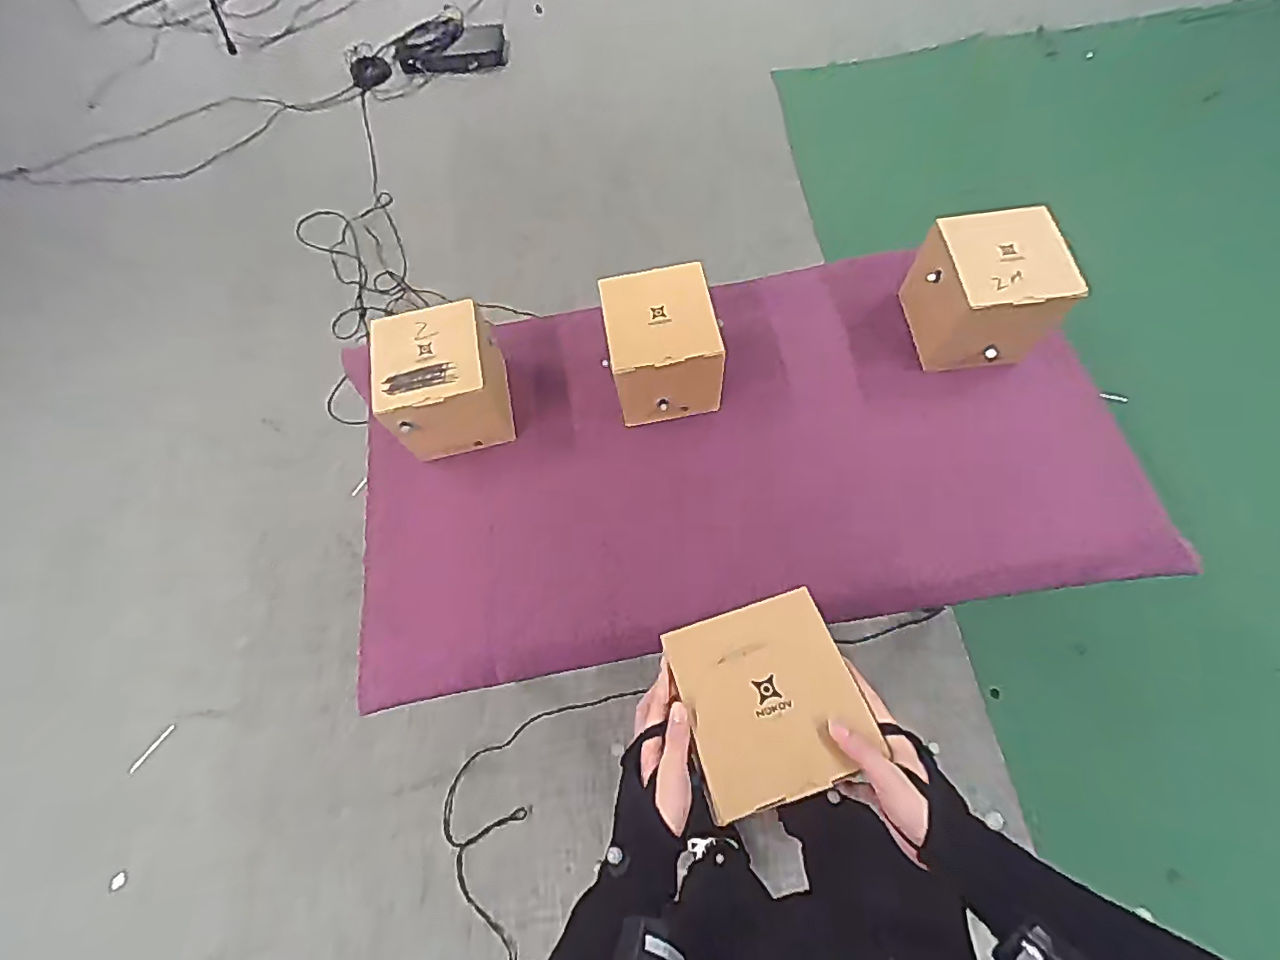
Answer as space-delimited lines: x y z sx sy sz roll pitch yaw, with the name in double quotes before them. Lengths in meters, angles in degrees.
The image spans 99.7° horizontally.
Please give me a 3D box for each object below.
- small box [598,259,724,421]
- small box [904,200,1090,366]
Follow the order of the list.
"small box" 0.032 -0.220 0.875 0.168 0.176 0.179 -11 69 1
"small box" 0.545 -0.306 0.859 0.168 0.176 0.179 -6 68 4
